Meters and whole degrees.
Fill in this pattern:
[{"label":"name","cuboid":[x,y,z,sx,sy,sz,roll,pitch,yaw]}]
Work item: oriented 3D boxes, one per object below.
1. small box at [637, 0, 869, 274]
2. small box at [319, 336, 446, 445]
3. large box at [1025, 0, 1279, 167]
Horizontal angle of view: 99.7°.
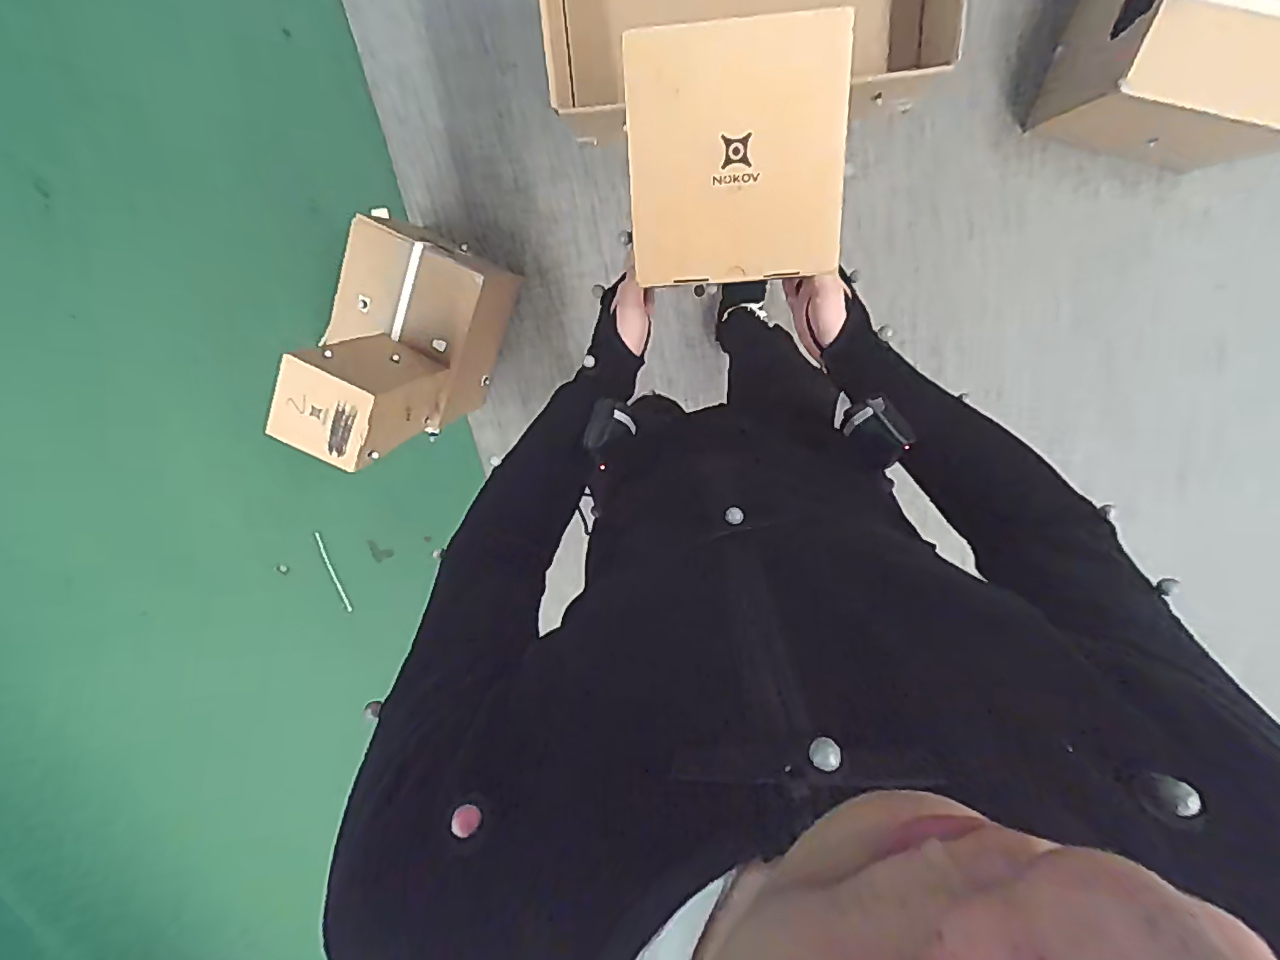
[{"label":"small box","cuboid":[0.085,-0.281,0.478,0.168,0.176,0.179,-3,111,5]},{"label":"small box","cuboid":[-0.559,-0.205,1.195,0.179,0.176,0.168,28,109,-5]},{"label":"large box","cuboid":[1.105,-0.850,1.069,0.408,0.320,0.320,13,110,1]}]
